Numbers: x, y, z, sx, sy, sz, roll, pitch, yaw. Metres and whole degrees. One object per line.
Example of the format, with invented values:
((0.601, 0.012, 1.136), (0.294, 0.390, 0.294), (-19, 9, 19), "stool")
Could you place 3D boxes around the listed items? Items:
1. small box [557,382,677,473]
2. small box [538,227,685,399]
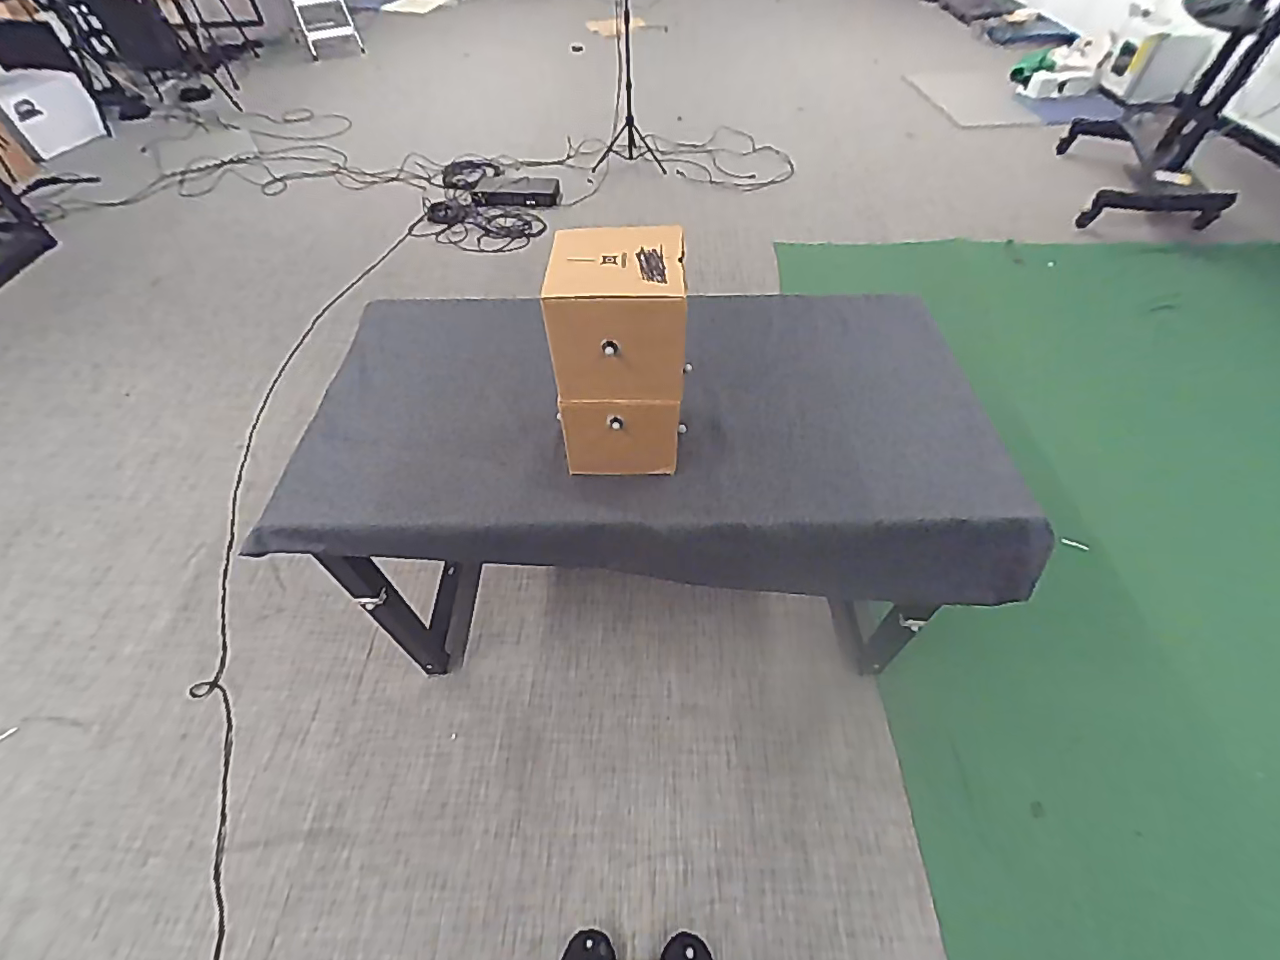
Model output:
((-0.031, -0.124, 0.879), (0.179, 0.176, 0.168), (1, 53, 0), "small box")
((-0.030, -0.226, 0.750), (0.179, 0.176, 0.168), (0, 53, 3), "small box")
